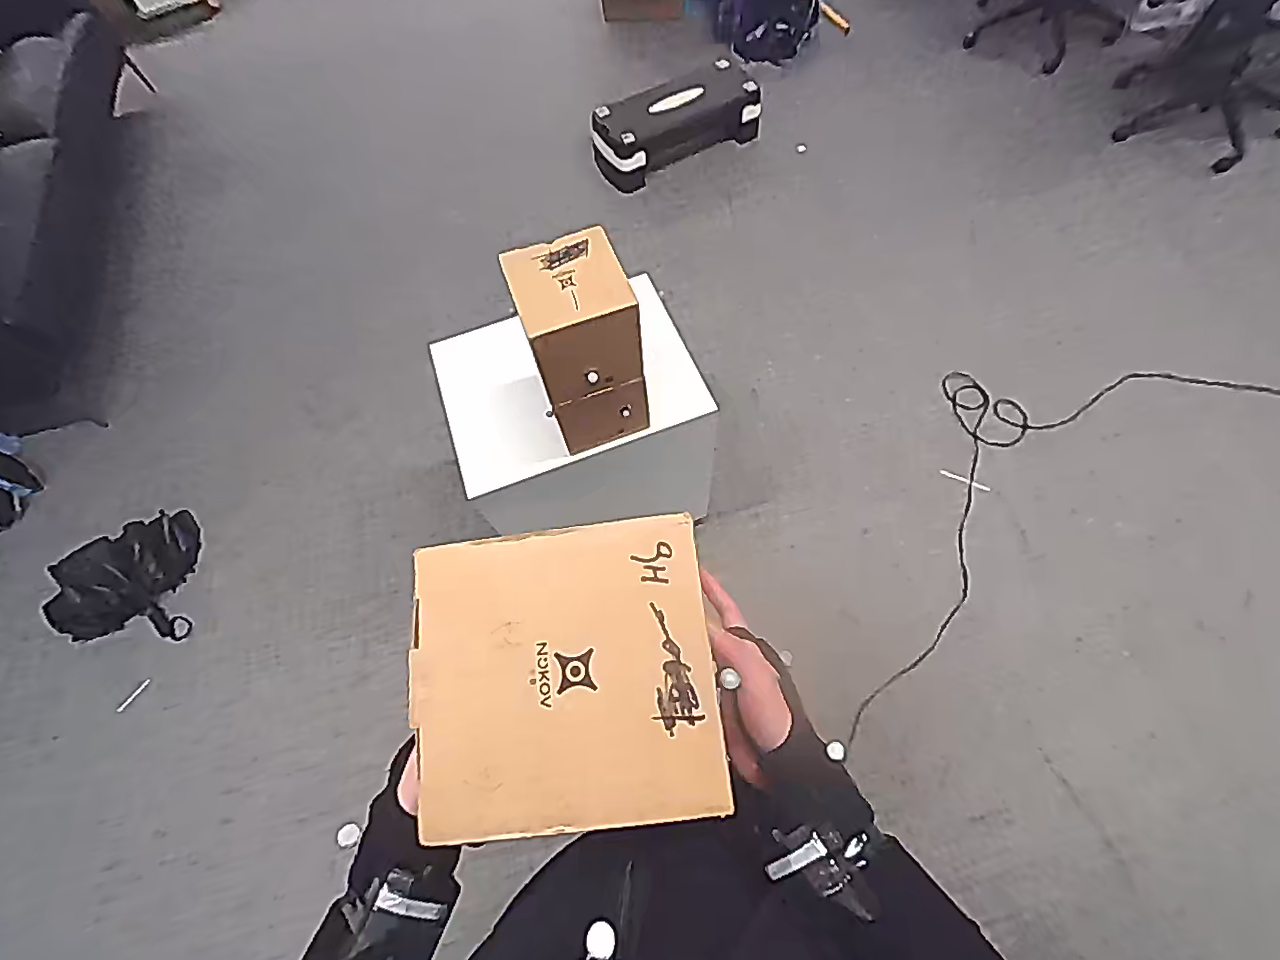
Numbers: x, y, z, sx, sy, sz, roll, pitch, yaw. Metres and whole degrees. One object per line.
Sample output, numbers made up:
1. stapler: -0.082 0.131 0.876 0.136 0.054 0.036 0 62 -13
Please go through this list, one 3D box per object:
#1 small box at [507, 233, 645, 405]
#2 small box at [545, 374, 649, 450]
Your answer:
1. small box: -0.097 -0.251 0.862 0.168 0.176 0.179 -19 64 -6
2. small box: -0.087 -0.176 1.008 0.168 0.176 0.179 -20 62 -7
